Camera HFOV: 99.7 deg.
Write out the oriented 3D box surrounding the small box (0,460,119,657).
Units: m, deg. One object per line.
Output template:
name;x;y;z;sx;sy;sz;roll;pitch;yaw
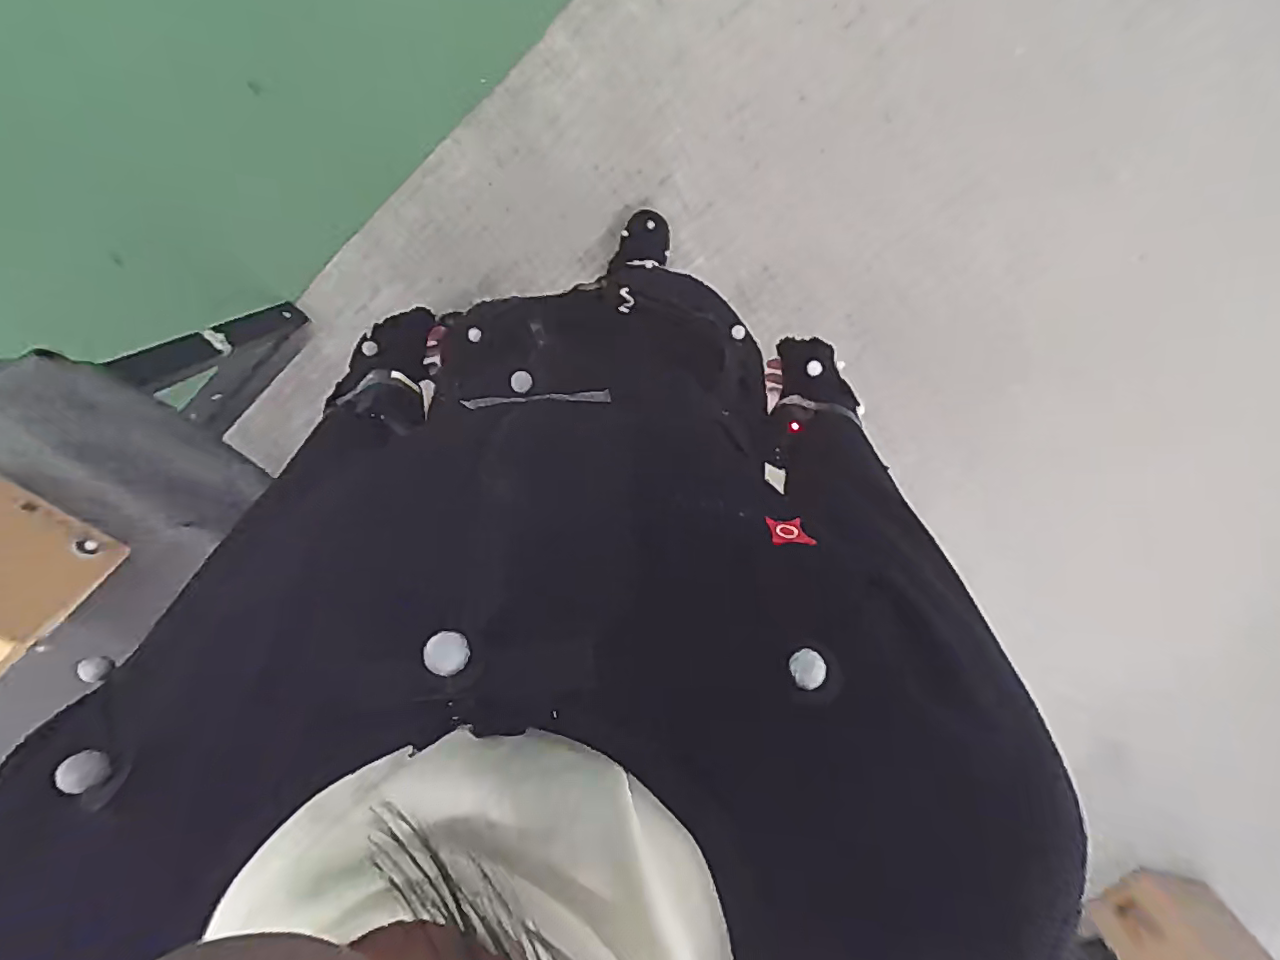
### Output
small box;-0.758;0.104;0.608;0.179;0.176;0.168;-37;117;15
